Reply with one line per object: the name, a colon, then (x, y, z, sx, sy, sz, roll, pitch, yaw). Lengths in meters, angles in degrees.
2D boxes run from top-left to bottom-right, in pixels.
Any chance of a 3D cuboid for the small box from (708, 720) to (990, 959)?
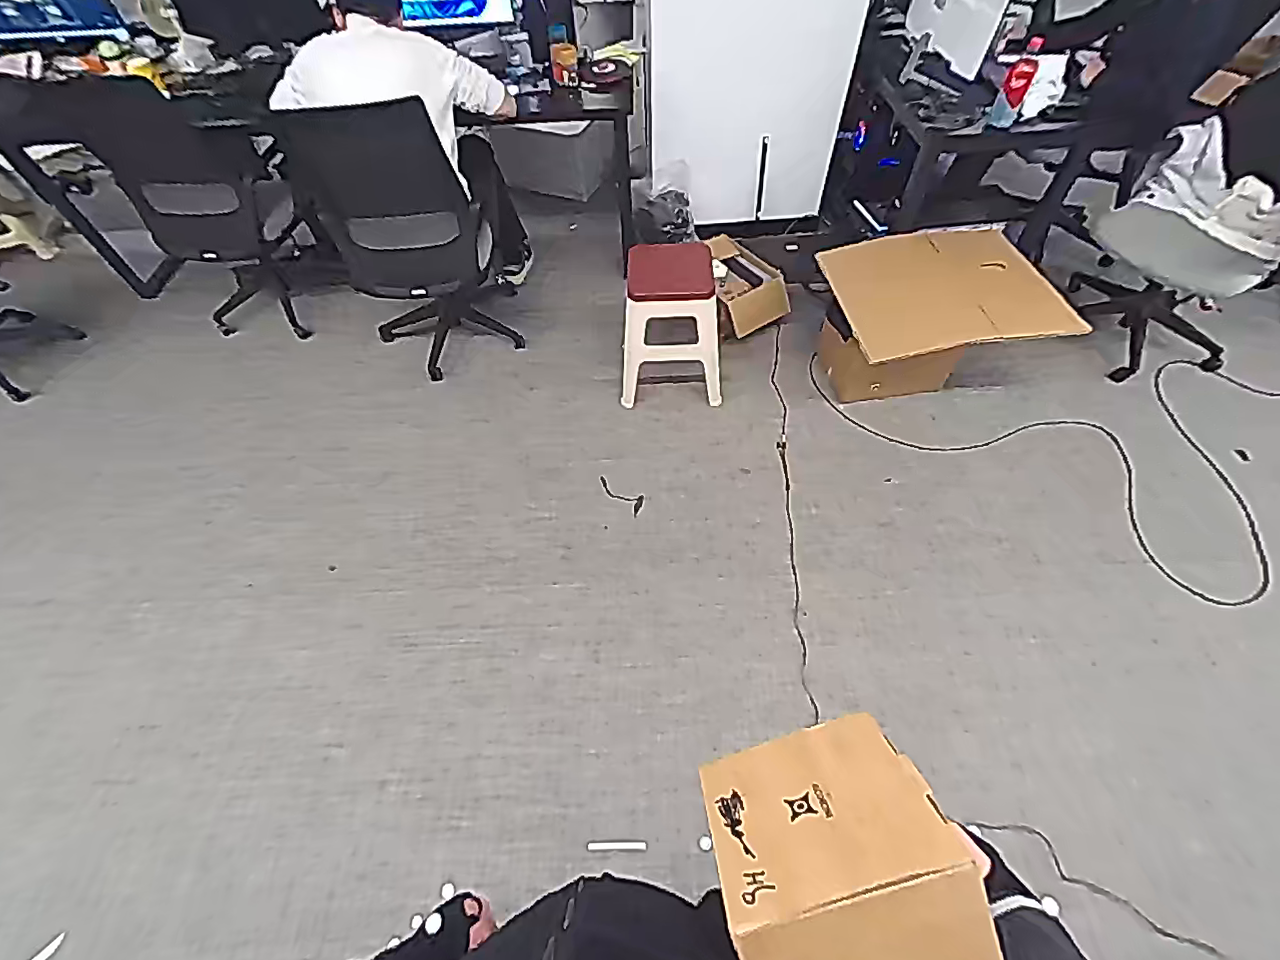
small box: (0.175, 0.354, 0.473, 0.179, 0.168, 0.176, -19, 100, 2)
